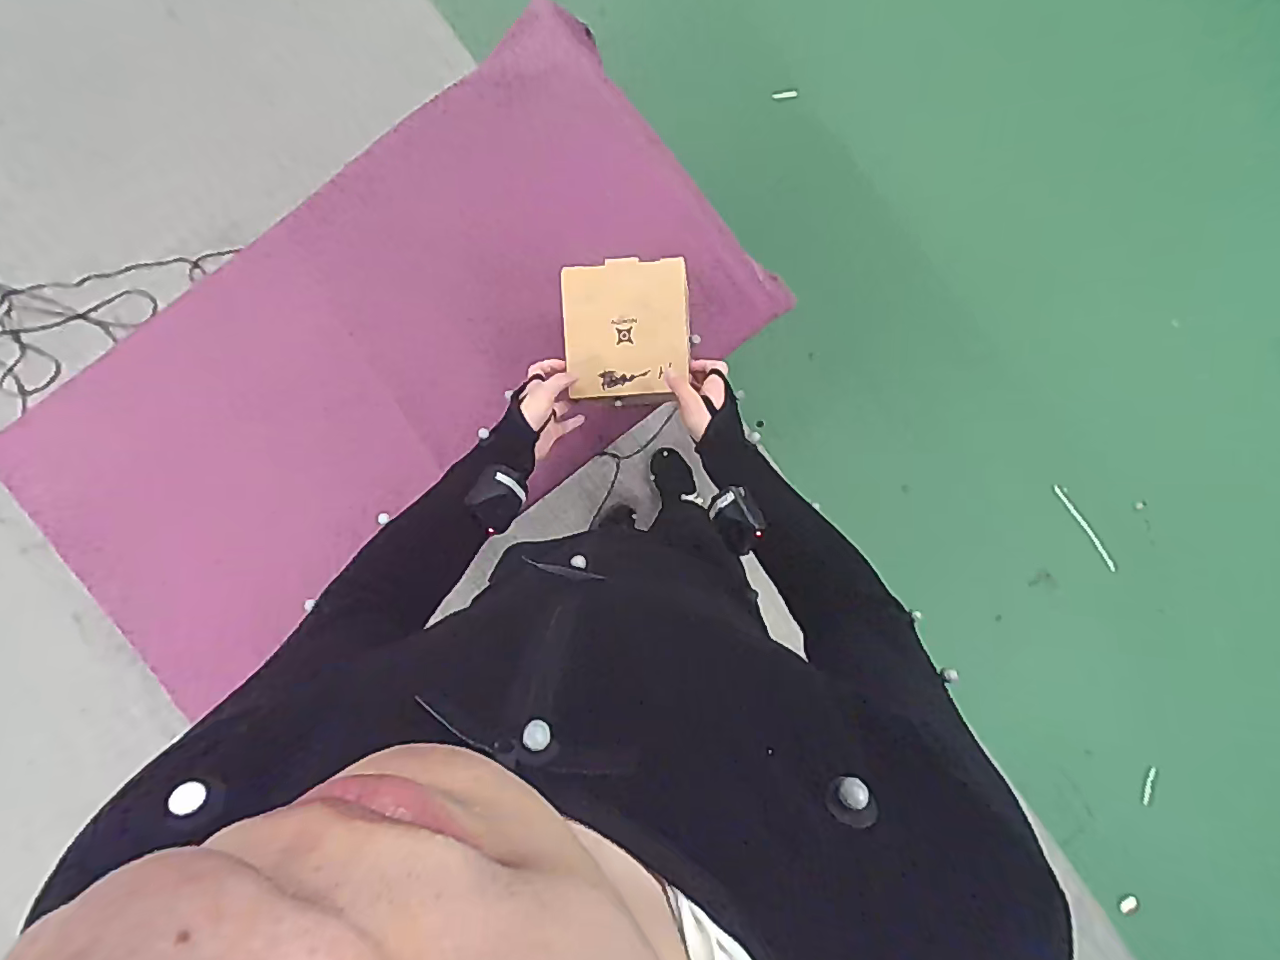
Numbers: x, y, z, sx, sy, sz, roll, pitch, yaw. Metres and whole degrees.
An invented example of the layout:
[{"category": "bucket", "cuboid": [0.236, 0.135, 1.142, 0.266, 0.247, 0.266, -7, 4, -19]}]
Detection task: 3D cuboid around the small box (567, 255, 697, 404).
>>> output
[{"category": "small box", "cuboid": [-0.003, -0.207, 0.785, 0.168, 0.176, 0.179, -2, 95, 8]}]
